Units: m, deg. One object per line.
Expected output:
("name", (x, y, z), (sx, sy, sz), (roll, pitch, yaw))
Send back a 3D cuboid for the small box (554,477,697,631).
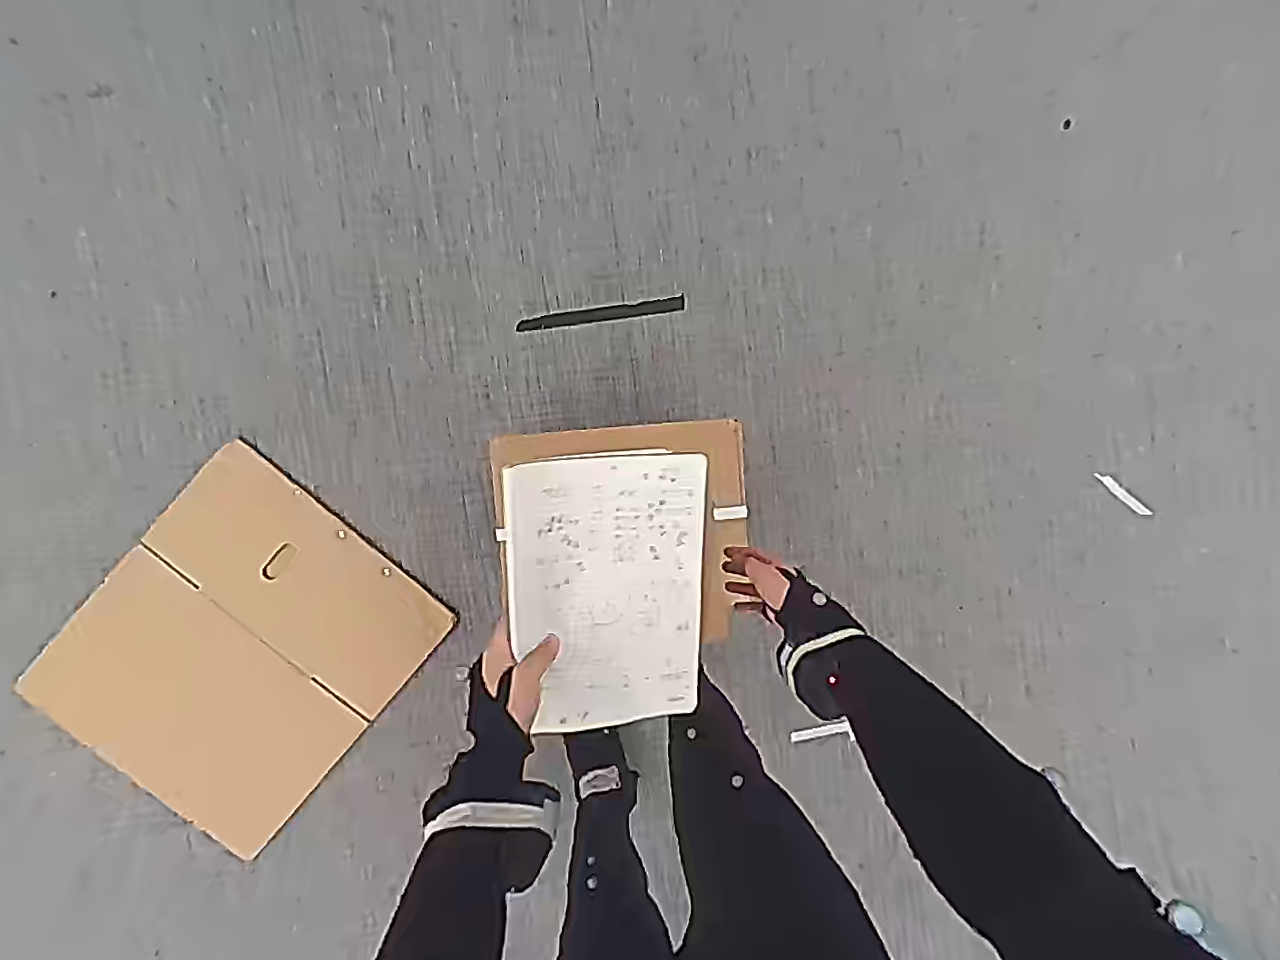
("small box", (-0.022, 0.096, 0.784), (0.168, 0.176, 0.179), (-11, 92, -4))
